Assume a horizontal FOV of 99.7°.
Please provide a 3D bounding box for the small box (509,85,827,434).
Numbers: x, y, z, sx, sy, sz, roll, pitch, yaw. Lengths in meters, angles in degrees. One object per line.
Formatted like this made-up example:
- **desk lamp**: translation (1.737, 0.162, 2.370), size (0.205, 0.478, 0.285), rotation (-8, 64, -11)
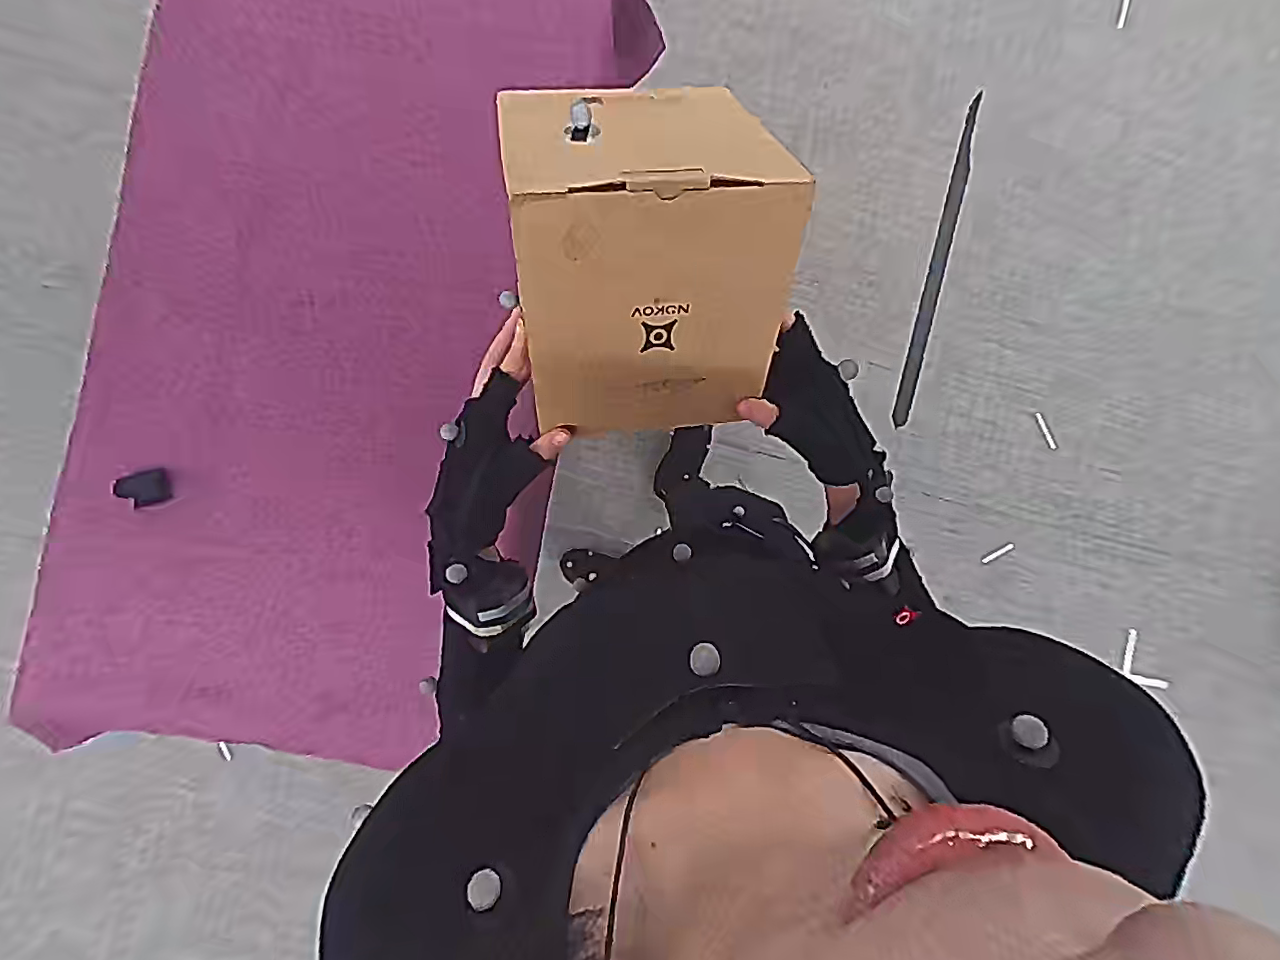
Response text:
- **small box**: translation (0.001, -0.158, 0.385), size (0.168, 0.179, 0.176), rotation (-6, 50, -9)
